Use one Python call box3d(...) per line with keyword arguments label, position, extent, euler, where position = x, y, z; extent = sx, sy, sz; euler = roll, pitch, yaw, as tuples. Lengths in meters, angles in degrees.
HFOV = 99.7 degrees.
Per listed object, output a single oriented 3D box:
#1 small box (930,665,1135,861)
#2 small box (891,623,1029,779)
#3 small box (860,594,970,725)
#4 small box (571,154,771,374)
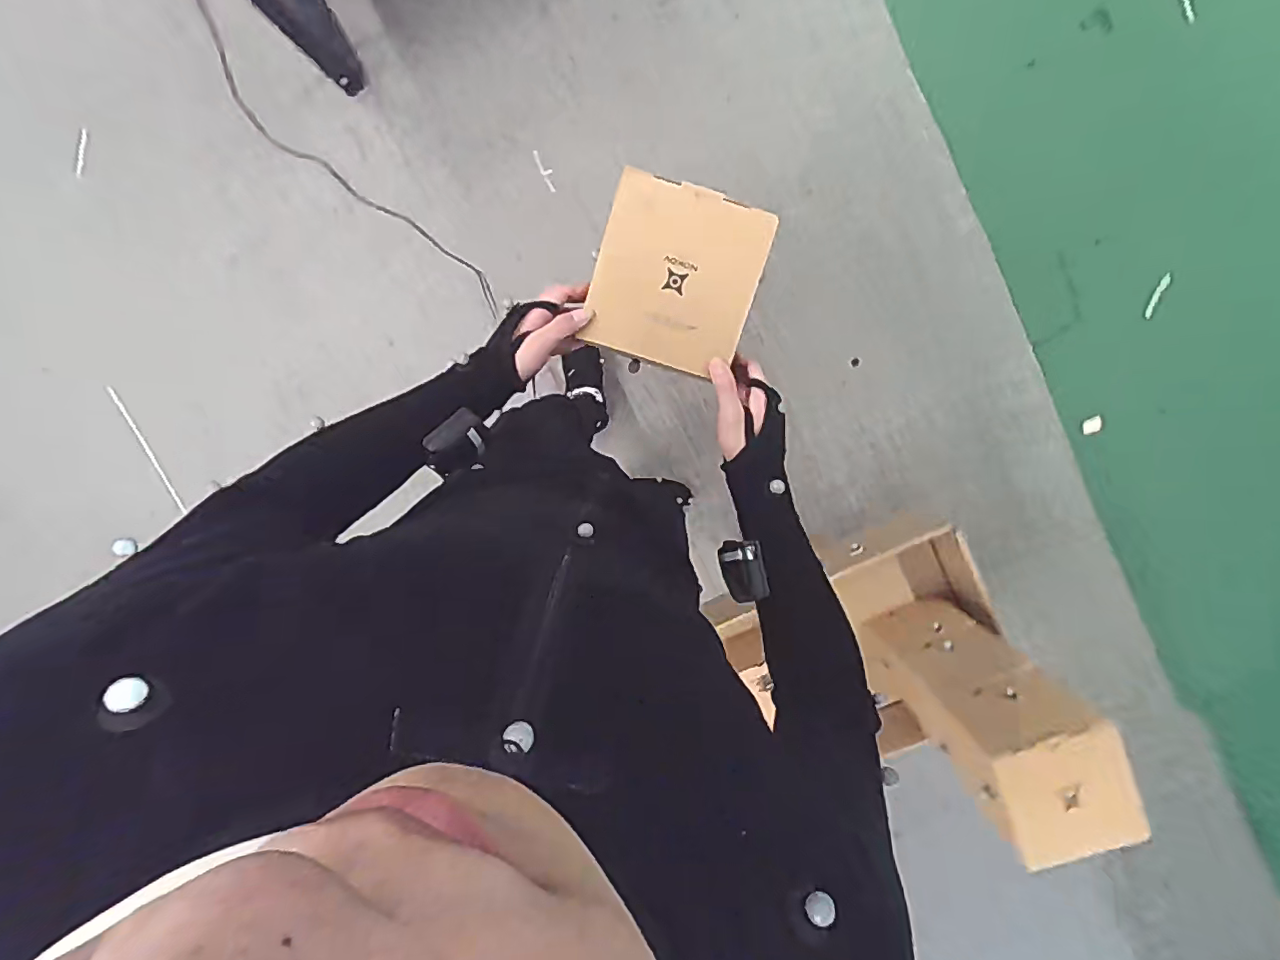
box3d(label="small box", position=(0.572, 0.412, 0.812), extent=(0.168, 0.176, 0.179), euler=(-20, 95, 6))
box3d(label="small box", position=(0.584, 0.388, 0.973), extent=(0.168, 0.176, 0.179), euler=(-21, 96, 5))
box3d(label="small box", position=(0.592, 0.367, 1.134), extent=(0.168, 0.176, 0.179), euler=(-24, 96, 5))
box3d(label="small box", position=(0.029, -0.231, 0.626), extent=(0.168, 0.176, 0.179), euler=(17, 101, -3))
